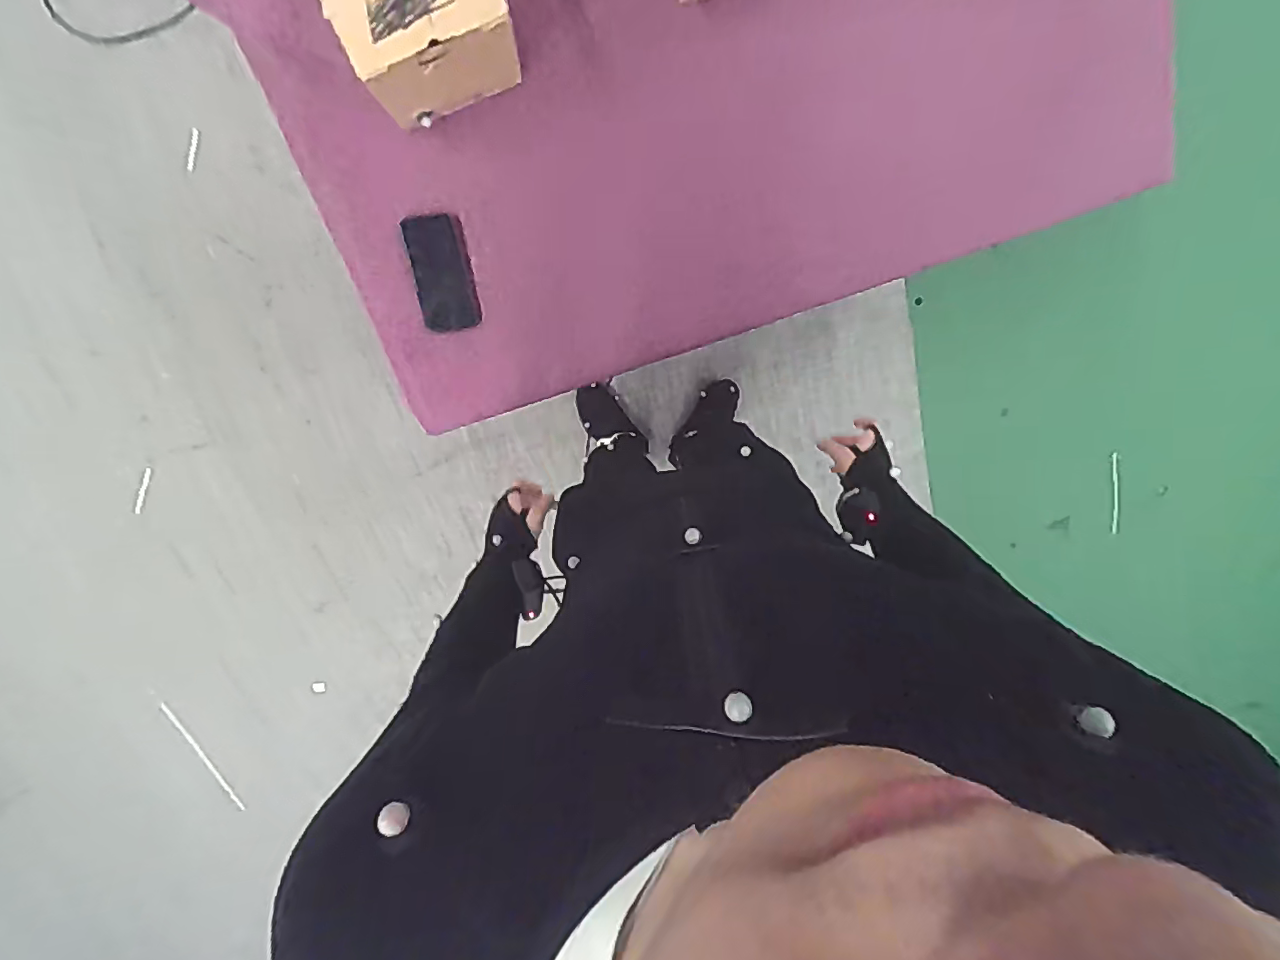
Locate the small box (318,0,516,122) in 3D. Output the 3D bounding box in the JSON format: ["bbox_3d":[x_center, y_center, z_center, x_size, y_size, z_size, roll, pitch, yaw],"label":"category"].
[{"bbox_3d":[-0.248,-0.526,0.589,0.168,0.176,0.179,-23,107,-1],"label":"small box"}]
